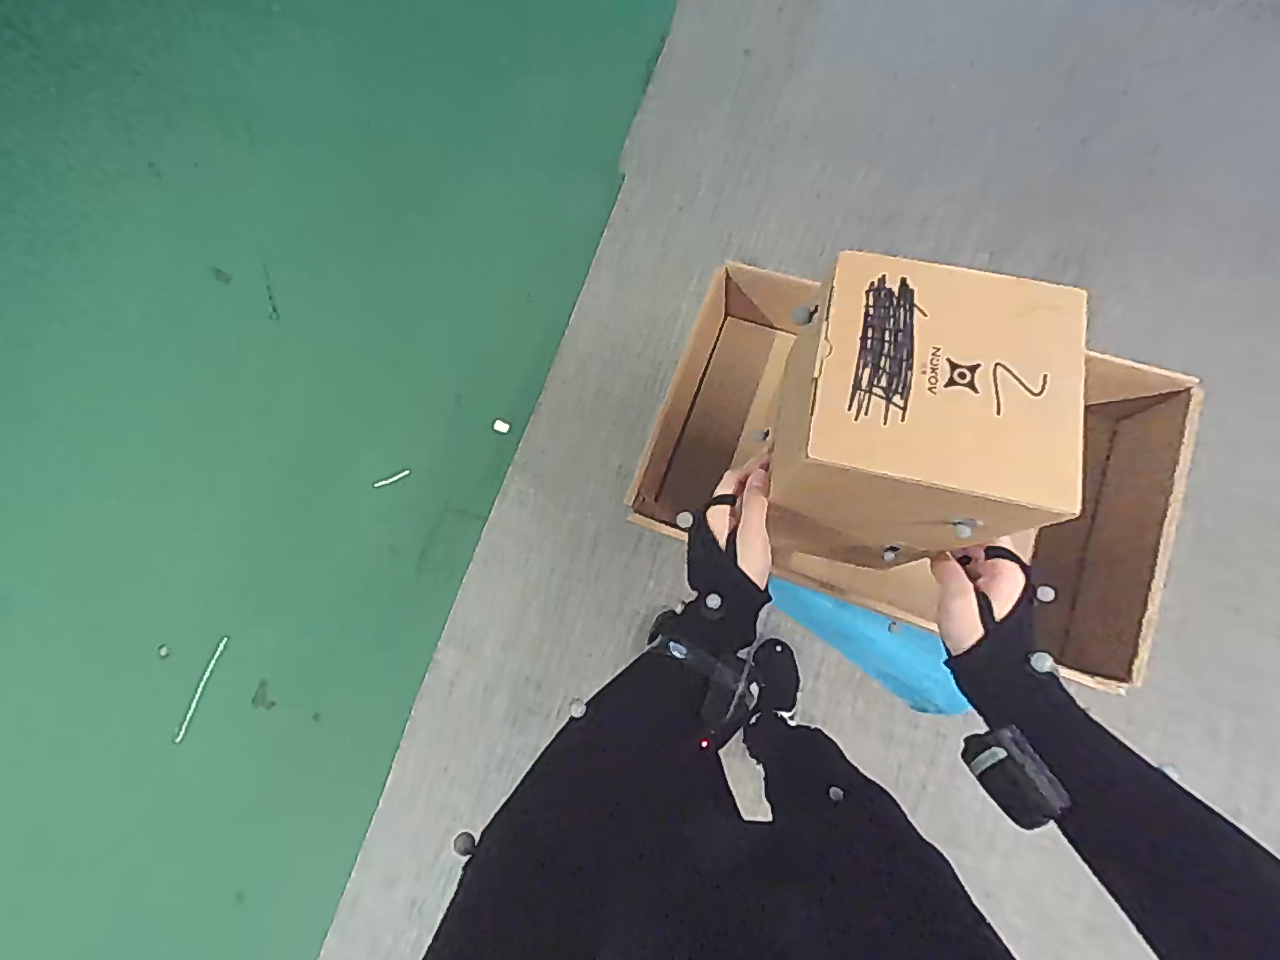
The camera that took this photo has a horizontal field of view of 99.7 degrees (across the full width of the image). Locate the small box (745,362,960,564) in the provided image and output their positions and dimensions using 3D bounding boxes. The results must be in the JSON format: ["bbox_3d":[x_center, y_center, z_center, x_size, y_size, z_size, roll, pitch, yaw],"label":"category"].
[{"bbox_3d":[0.221,-0.008,0.603,0.179,0.176,0.168,11,76,6],"label":"small box"}]
